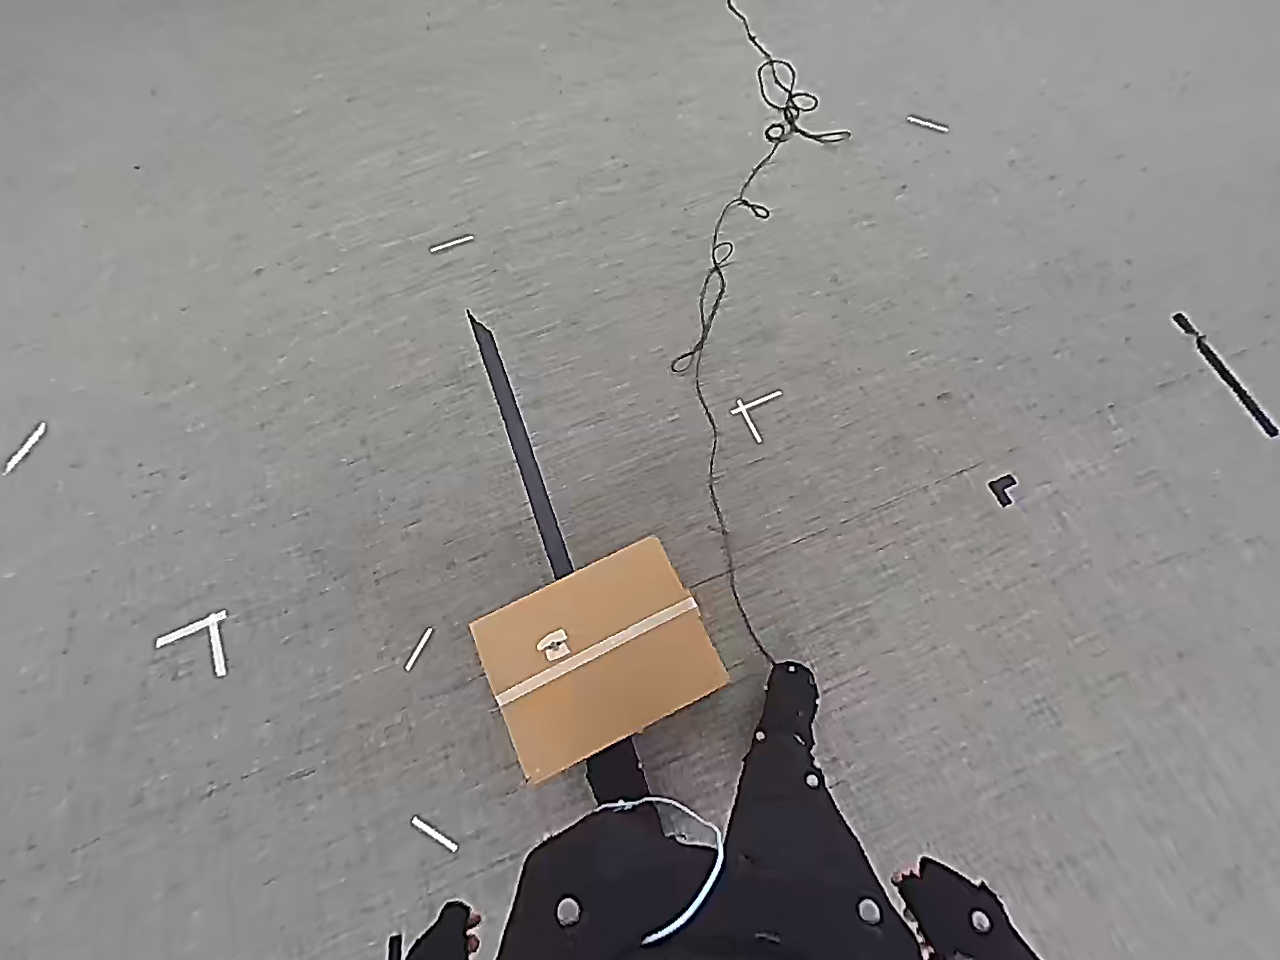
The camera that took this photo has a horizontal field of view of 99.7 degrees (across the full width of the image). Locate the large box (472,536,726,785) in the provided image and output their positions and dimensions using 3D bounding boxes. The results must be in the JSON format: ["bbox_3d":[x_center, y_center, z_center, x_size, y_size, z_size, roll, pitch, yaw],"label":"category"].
[{"bbox_3d":[-0.074,0.370,1.155,0.408,0.320,0.320,-25,71,-5],"label":"large box"}]
